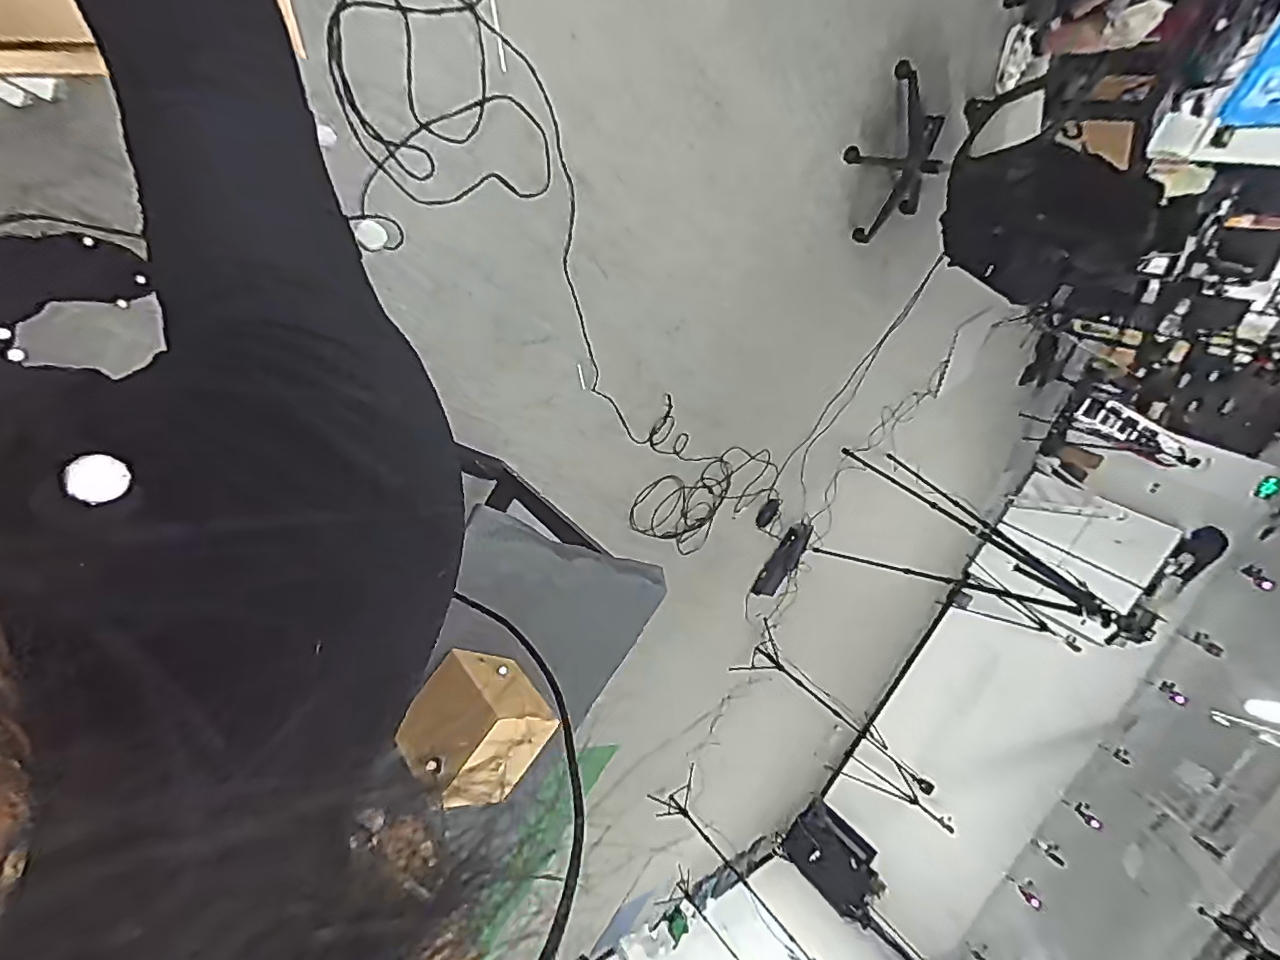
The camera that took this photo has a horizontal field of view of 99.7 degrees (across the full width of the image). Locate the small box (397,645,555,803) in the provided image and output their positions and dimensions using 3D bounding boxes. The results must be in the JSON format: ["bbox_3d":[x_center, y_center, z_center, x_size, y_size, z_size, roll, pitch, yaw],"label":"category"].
[{"bbox_3d":[-0.289,0.417,0.934,0.179,0.176,0.168,-53,143,-3],"label":"small box"}]

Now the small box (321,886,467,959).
[{"bbox_3d":[-0.380,0.785,0.836,0.179,0.176,0.168,-39,140,-21],"label":"small box"}]
